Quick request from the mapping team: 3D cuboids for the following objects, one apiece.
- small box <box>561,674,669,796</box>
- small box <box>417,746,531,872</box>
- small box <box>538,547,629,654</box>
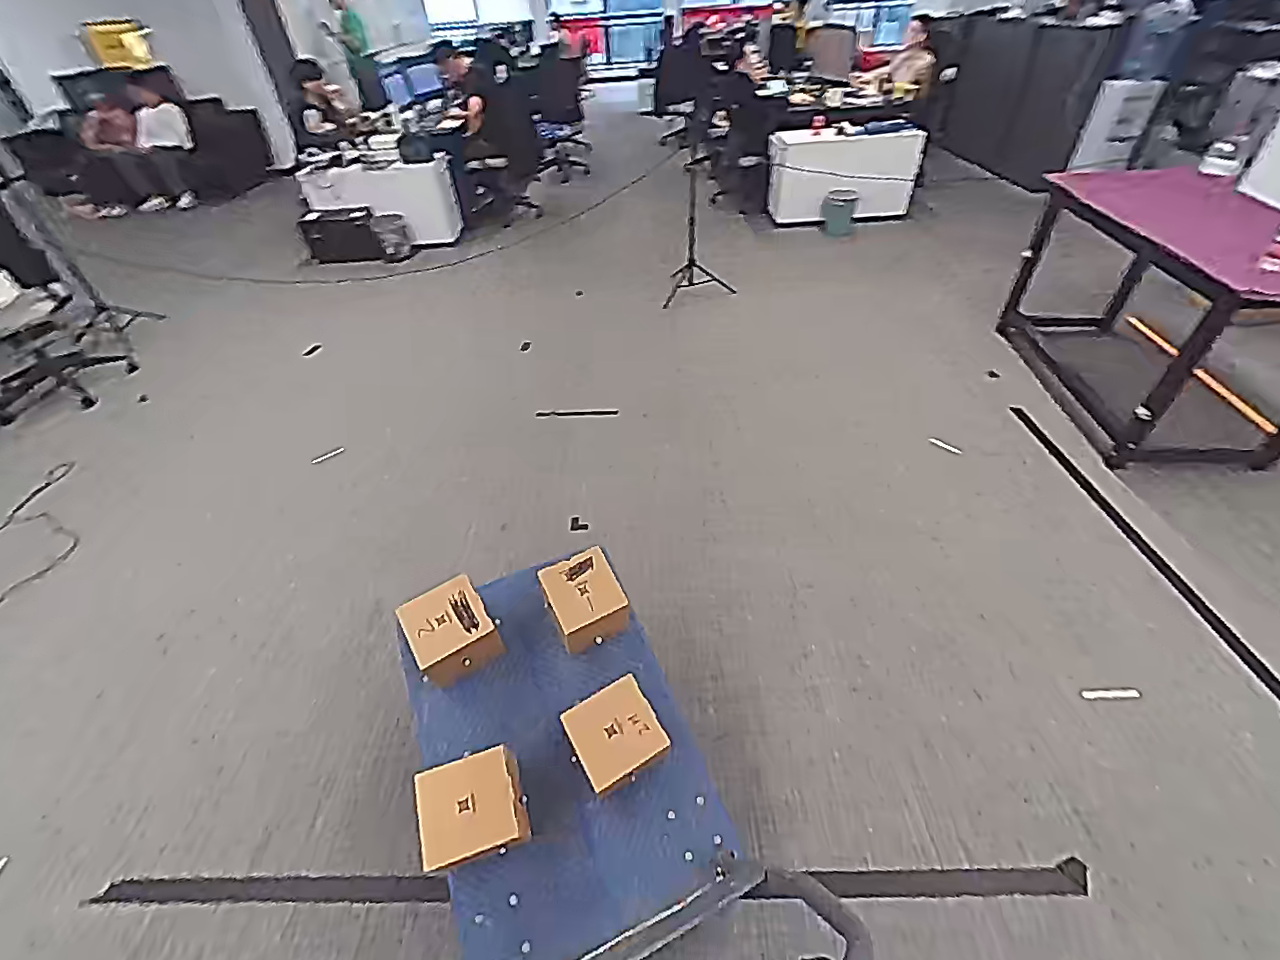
[{"bbox_3d":[-0.053,0.558,1.174,0.179,0.176,0.168,-26,60,-18],"label":"small box"},{"bbox_3d":[-0.329,0.665,1.089,0.179,0.176,0.168,-15,57,-14],"label":"small box"},{"bbox_3d":[-0.141,0.302,1.348,0.168,0.176,0.179,-23,60,-17],"label":"small box"}]
